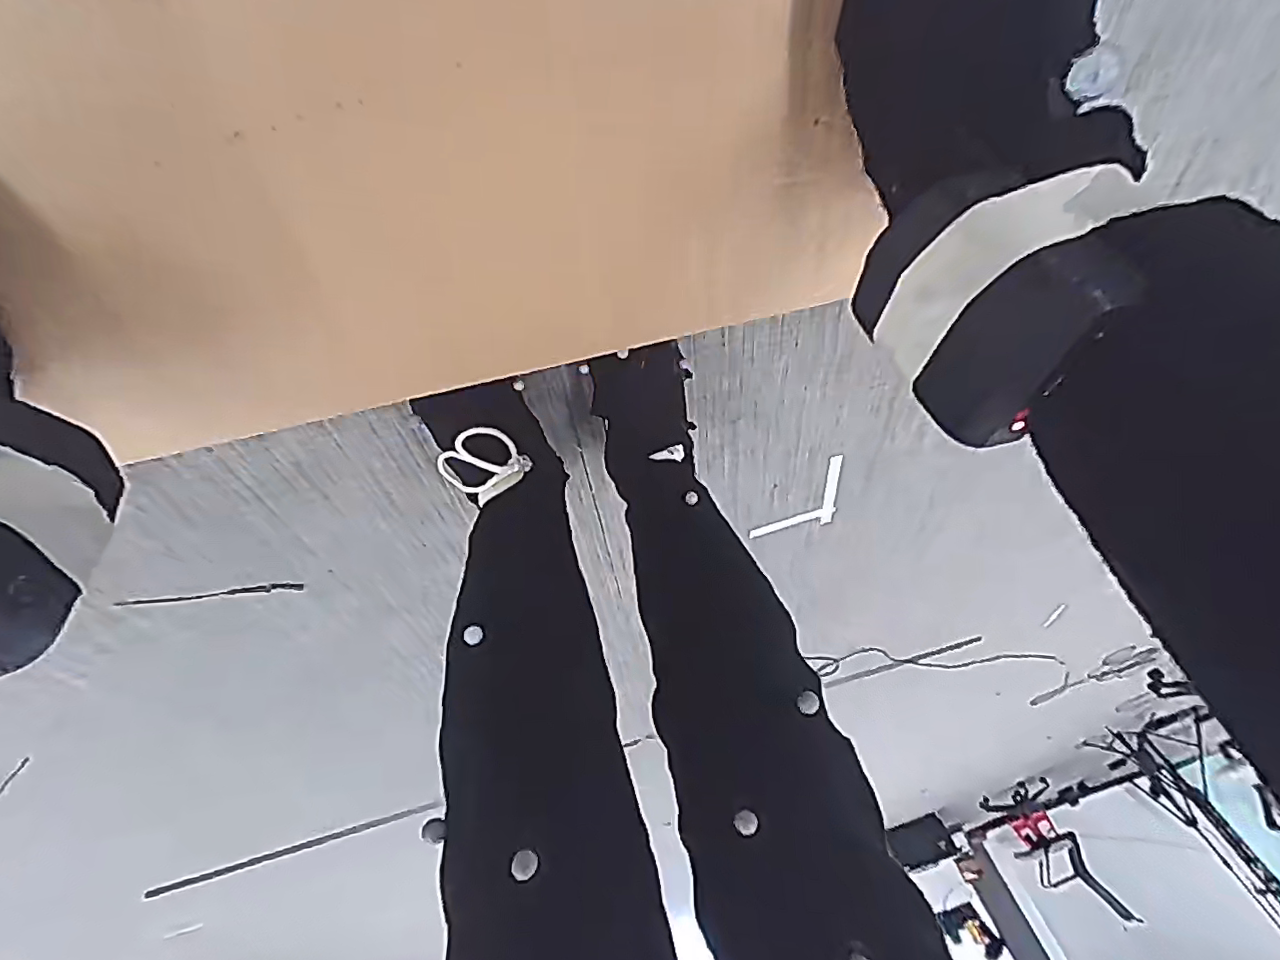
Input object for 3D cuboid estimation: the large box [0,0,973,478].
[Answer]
[{"bbox_3d":[-0.114,-0.255,0.248,0.408,0.320,0.320,-14,139,-5],"label":"large box"}]
